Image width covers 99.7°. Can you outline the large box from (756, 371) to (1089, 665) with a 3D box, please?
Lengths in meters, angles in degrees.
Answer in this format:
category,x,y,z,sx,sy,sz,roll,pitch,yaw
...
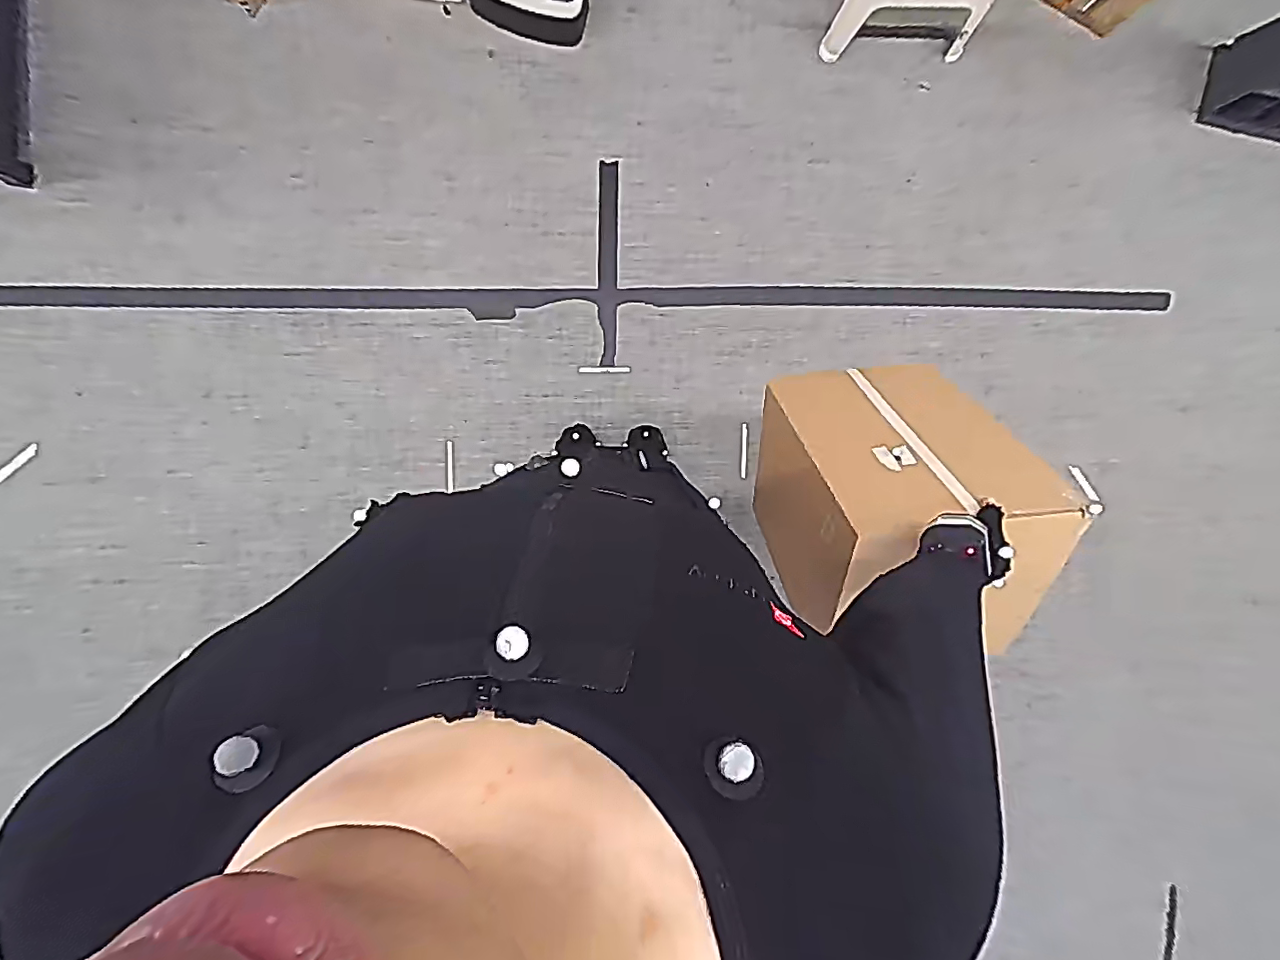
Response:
category,x,y,z,sx,sy,sz,roll,pitch,yaw
large box,0.417,0.050,0.939,0.320,0.408,0.320,-5,131,-3
